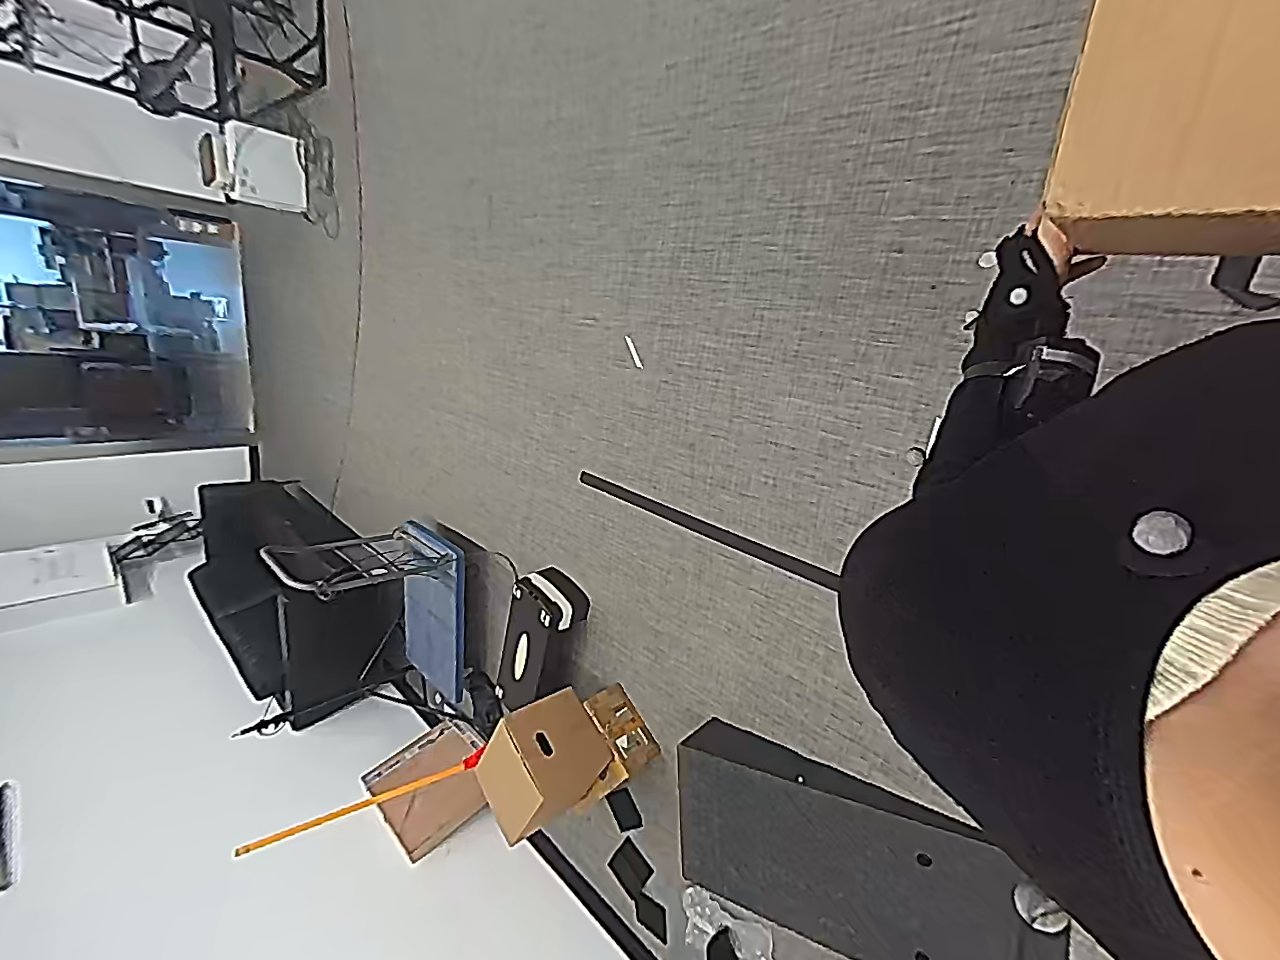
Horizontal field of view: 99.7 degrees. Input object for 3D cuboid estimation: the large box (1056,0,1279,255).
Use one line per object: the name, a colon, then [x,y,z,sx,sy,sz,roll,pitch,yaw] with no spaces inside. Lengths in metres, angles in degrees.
large box: [0.455,-0.271,0.216,0.408,0.320,0.320,17,115,36]
